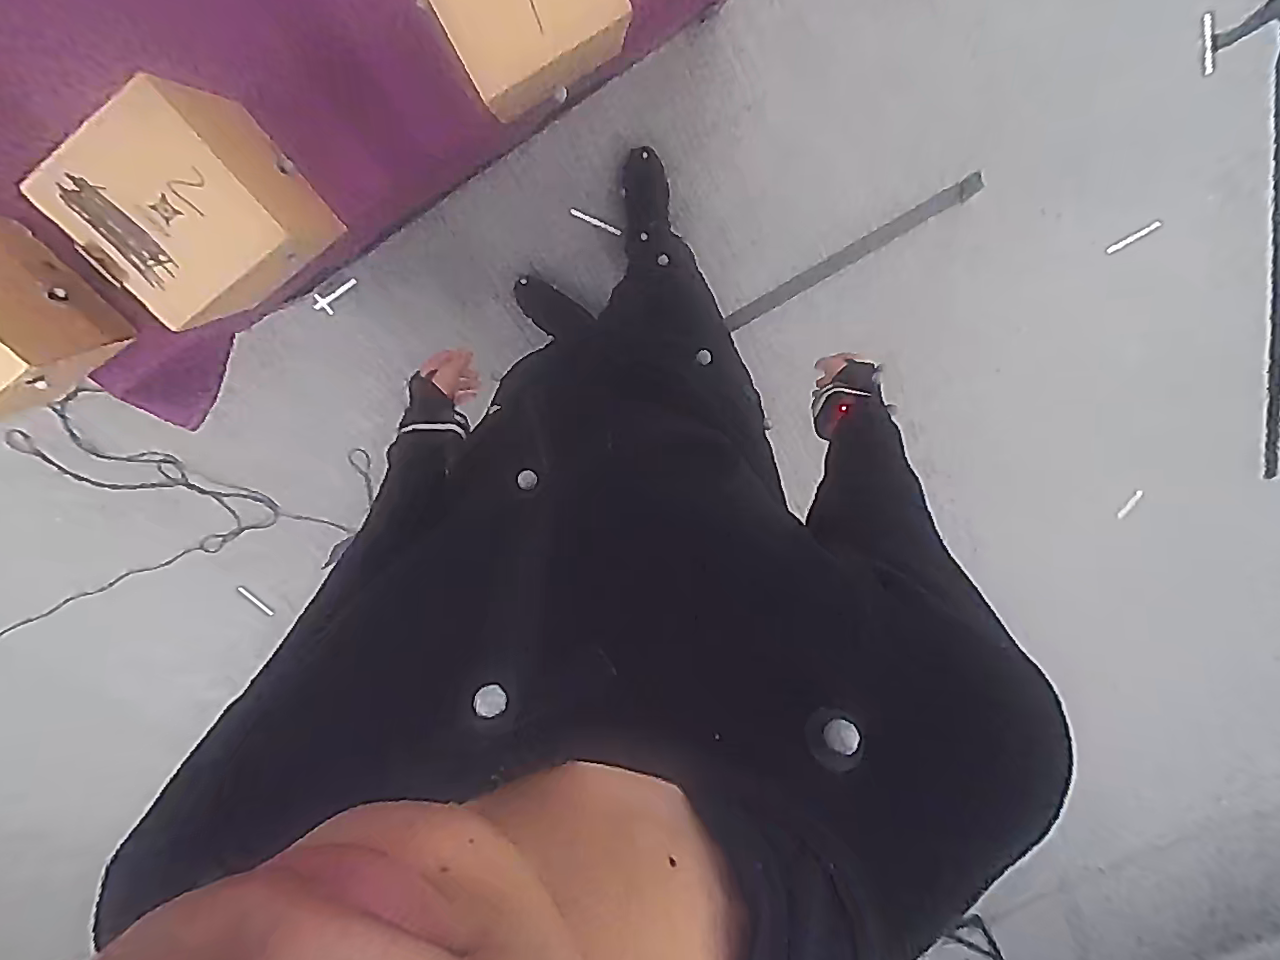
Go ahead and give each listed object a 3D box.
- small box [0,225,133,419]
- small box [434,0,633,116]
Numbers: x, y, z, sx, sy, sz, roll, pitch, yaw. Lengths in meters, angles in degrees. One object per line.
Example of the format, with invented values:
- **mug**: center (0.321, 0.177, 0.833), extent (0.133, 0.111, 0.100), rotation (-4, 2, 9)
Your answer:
- **small box**: center (-0.777, -0.178, 0.639), extent (0.179, 0.176, 0.168), rotation (-31, 117, 8)
- **small box**: center (-0.124, -0.506, 0.545), extent (0.168, 0.176, 0.179), rotation (-27, 118, 8)
